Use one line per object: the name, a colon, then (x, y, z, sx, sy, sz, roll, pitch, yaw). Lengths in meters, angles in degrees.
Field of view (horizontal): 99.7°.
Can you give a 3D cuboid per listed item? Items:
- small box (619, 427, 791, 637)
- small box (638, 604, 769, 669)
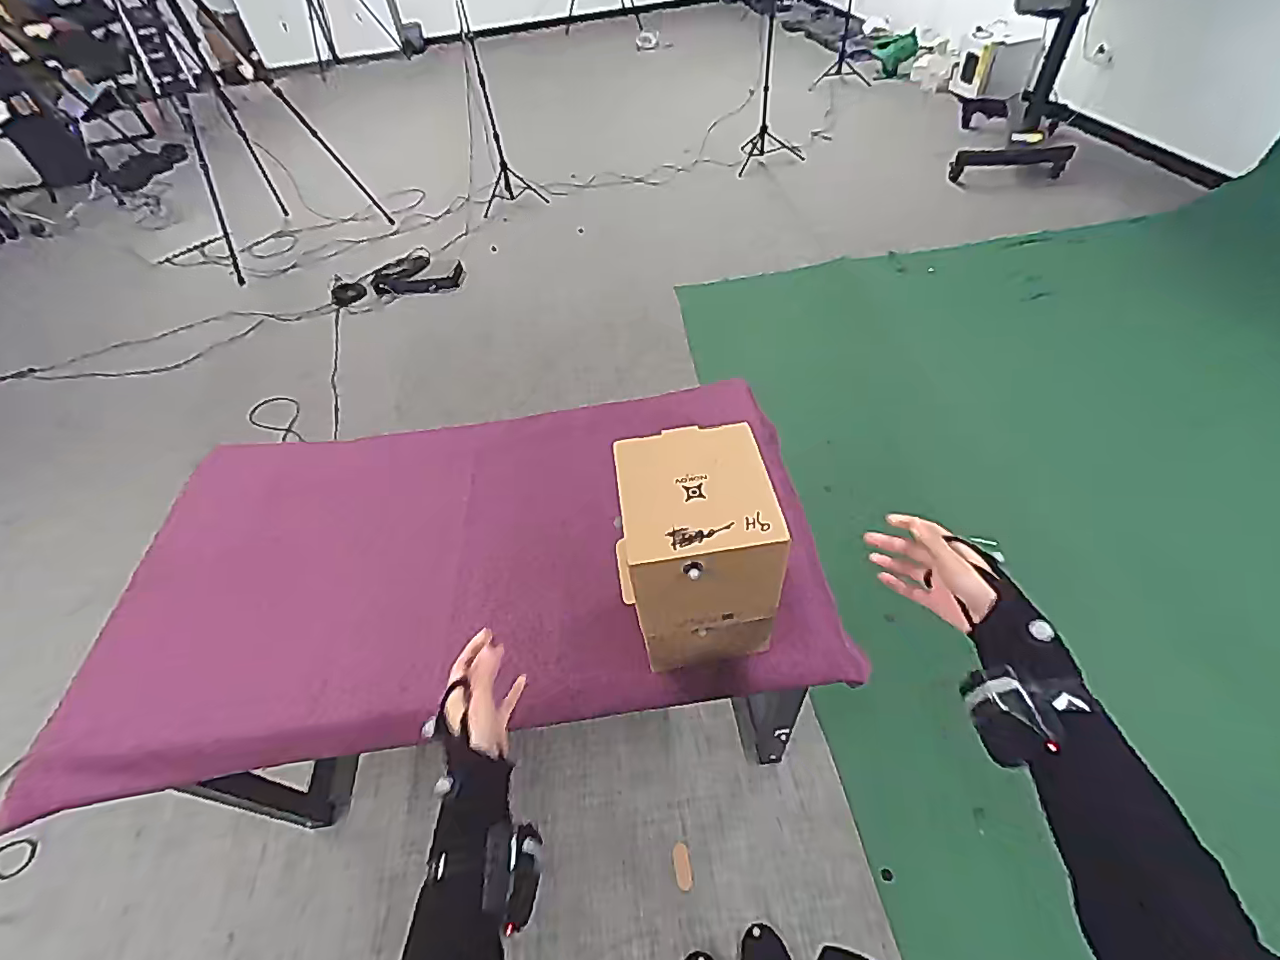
small box: (0.070, 0.064, 0.651, 0.168, 0.176, 0.179, -9, 48, 1)
small box: (0.086, 0.158, 0.787, 0.179, 0.176, 0.168, -10, 49, -1)
